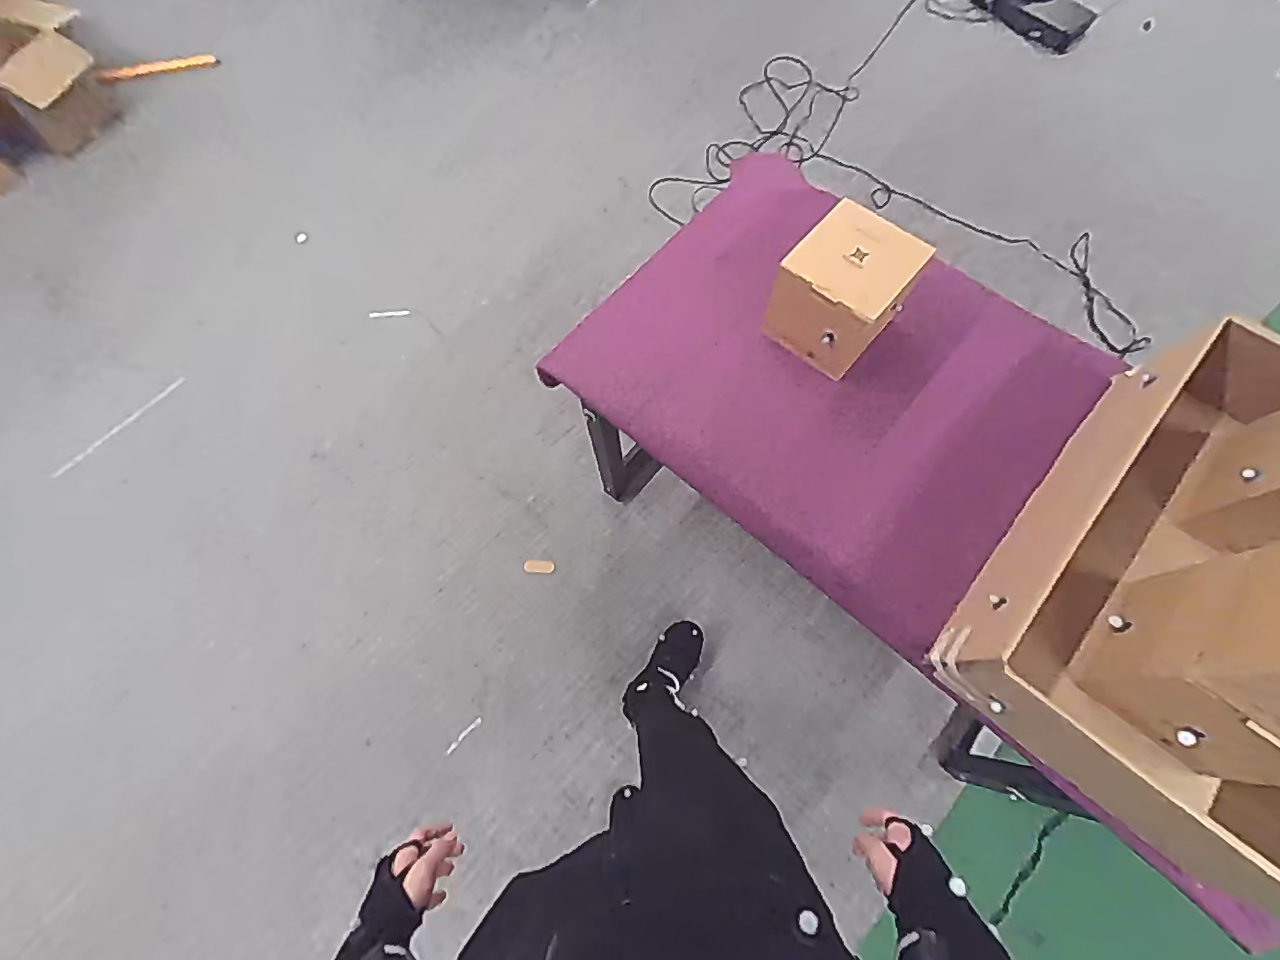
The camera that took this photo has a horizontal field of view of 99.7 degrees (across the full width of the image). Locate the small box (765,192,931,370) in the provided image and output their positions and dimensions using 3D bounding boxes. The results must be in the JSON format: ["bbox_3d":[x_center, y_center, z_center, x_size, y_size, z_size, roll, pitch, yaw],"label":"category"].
[{"bbox_3d":[0.322,-0.313,0.880,0.168,0.176,0.179,40,76,13],"label":"small box"}]

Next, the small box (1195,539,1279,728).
[{"bbox_3d":[0.659,0.150,0.470,0.168,0.176,0.179,38,74,16],"label":"small box"}]
